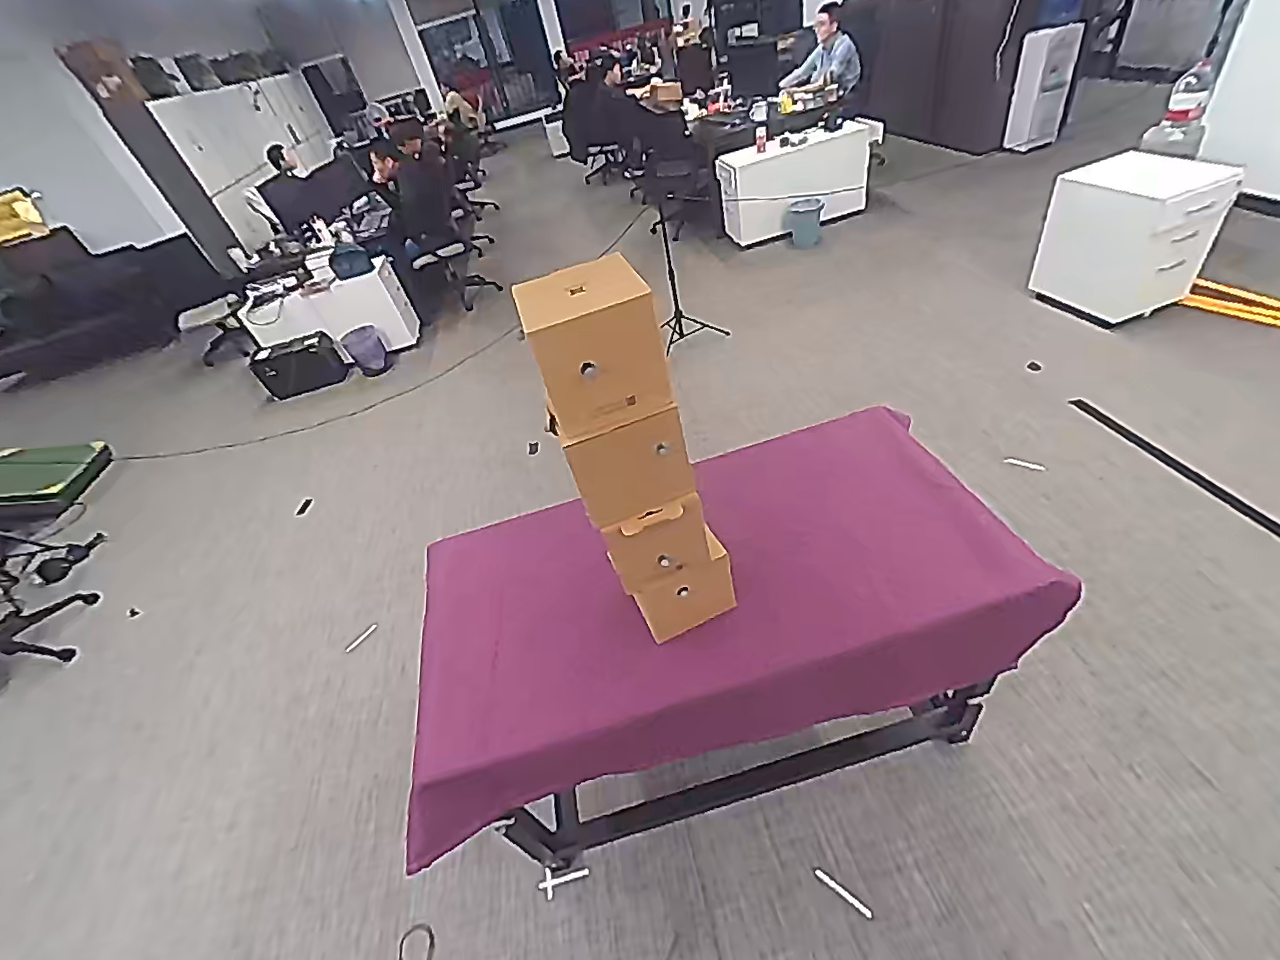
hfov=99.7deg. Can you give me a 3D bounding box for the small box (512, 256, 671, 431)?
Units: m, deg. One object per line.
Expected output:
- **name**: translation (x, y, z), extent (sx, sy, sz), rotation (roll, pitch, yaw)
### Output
- **small box**: translation (-0.067, -0.189, 0.768), extent (0.168, 0.176, 0.179), rotation (-20, 40, -4)

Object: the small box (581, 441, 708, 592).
- **small box**: translation (0.009, 0.065, 0.962), extent (0.168, 0.176, 0.179), rotation (-21, 41, -4)

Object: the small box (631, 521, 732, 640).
- **small box**: translation (0.066, 0.182, 1.065), extent (0.179, 0.176, 0.168), rotation (-24, 42, -9)
